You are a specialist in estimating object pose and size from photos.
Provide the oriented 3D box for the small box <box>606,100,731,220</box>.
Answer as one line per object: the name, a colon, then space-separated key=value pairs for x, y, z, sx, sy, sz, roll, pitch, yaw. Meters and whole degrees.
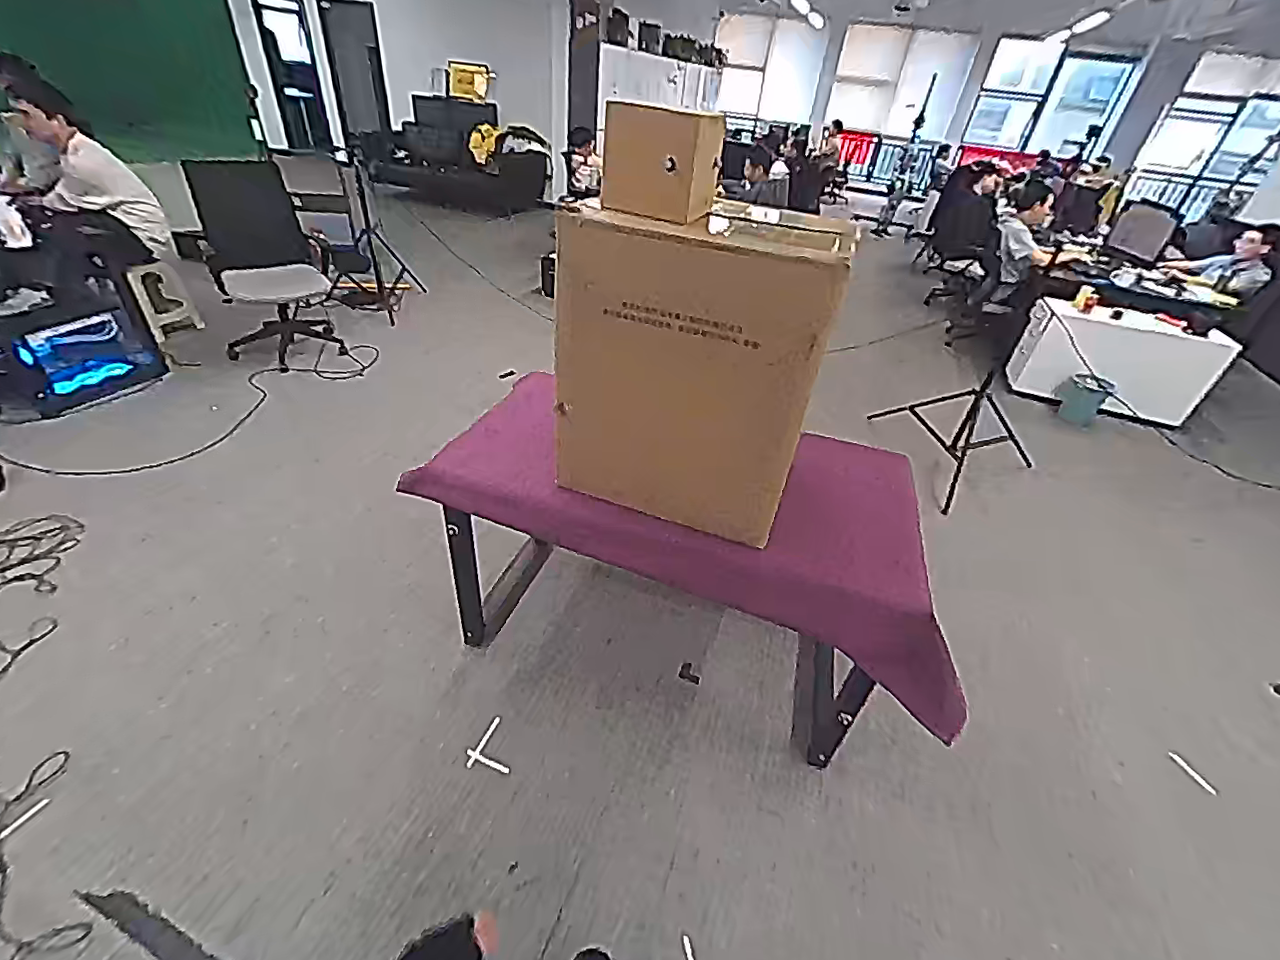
small box: x=0.050 y=-0.589 z=0.998 sx=0.179 sy=0.176 sz=0.168 roll=18 pitch=37 yaw=15
